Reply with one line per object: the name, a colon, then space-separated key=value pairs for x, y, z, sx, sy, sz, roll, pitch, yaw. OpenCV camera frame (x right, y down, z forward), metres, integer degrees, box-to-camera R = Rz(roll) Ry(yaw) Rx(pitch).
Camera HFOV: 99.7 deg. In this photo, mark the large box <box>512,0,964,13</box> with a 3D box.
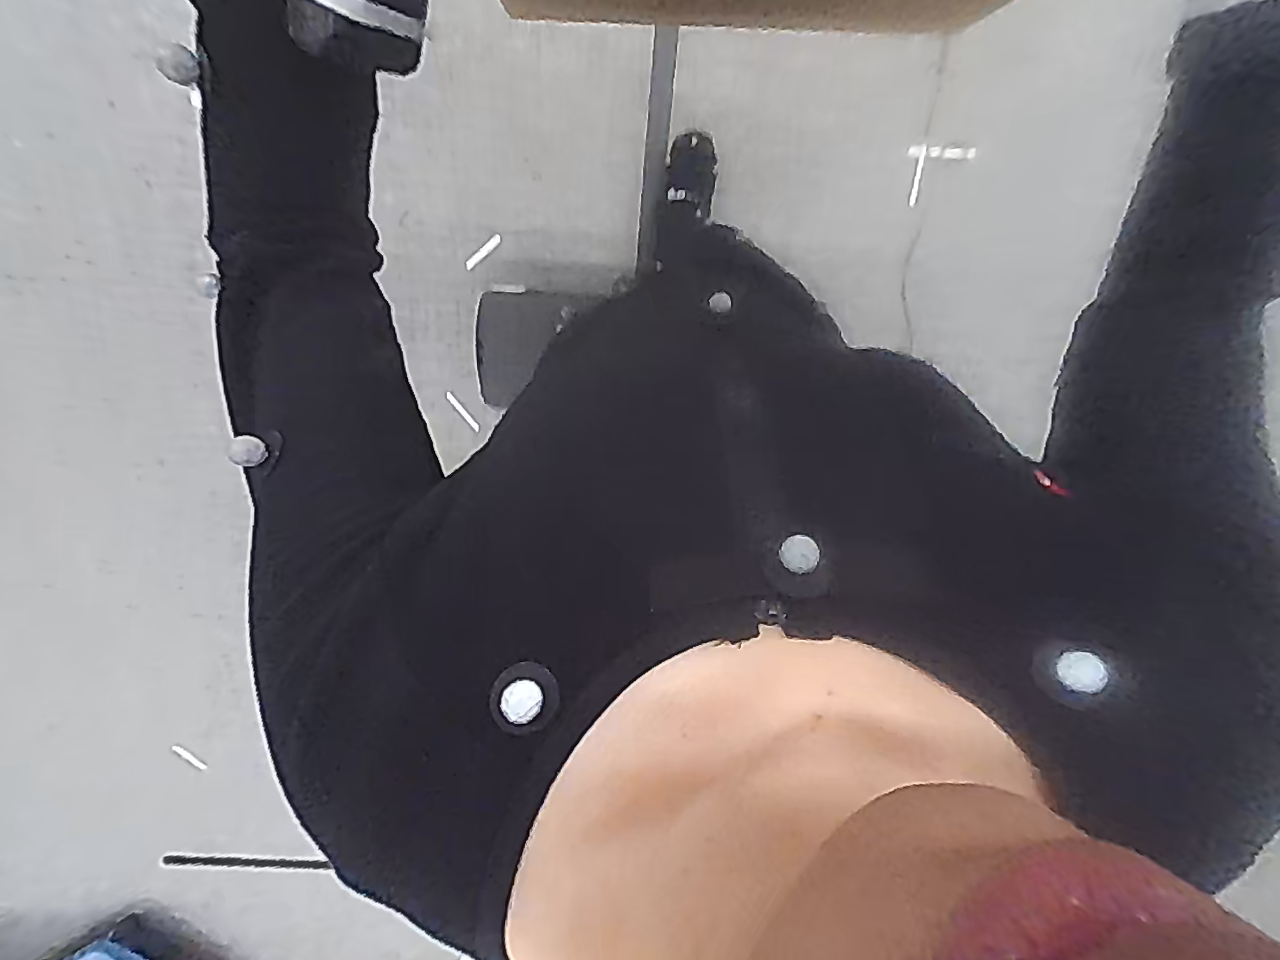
large box: x=0.089 y=-0.494 z=0.283 sx=0.408 sy=0.320 sz=0.320 roll=0 pitch=115 yaw=-2
